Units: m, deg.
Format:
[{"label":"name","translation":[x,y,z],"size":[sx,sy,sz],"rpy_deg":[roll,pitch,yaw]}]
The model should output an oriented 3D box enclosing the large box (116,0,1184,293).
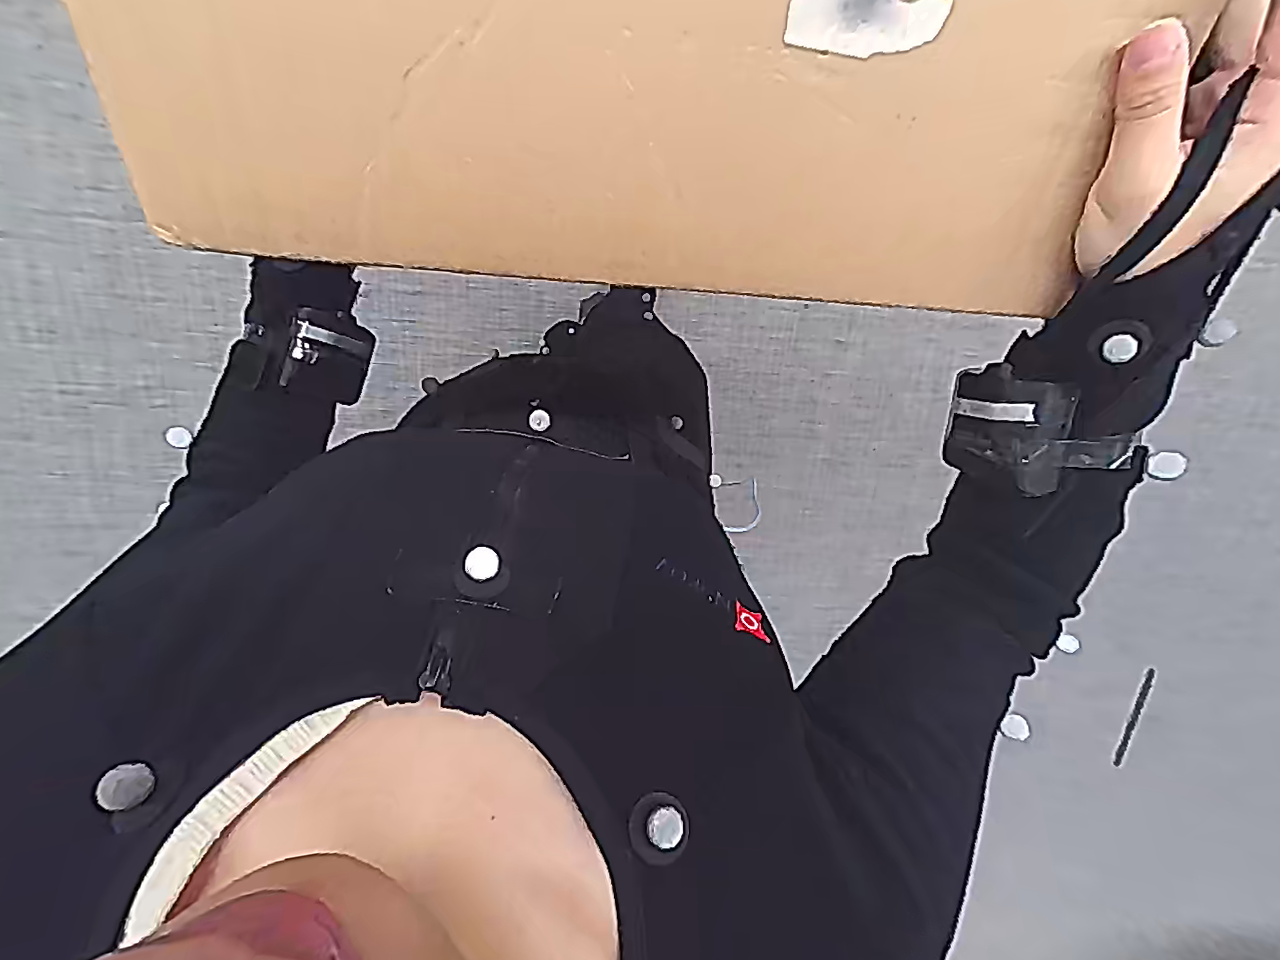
[{"label":"large box","translation":[0.006,-0.305,0.298],"size":[0.408,0.320,0.320],"rpy_deg":[1,123,-7]}]
